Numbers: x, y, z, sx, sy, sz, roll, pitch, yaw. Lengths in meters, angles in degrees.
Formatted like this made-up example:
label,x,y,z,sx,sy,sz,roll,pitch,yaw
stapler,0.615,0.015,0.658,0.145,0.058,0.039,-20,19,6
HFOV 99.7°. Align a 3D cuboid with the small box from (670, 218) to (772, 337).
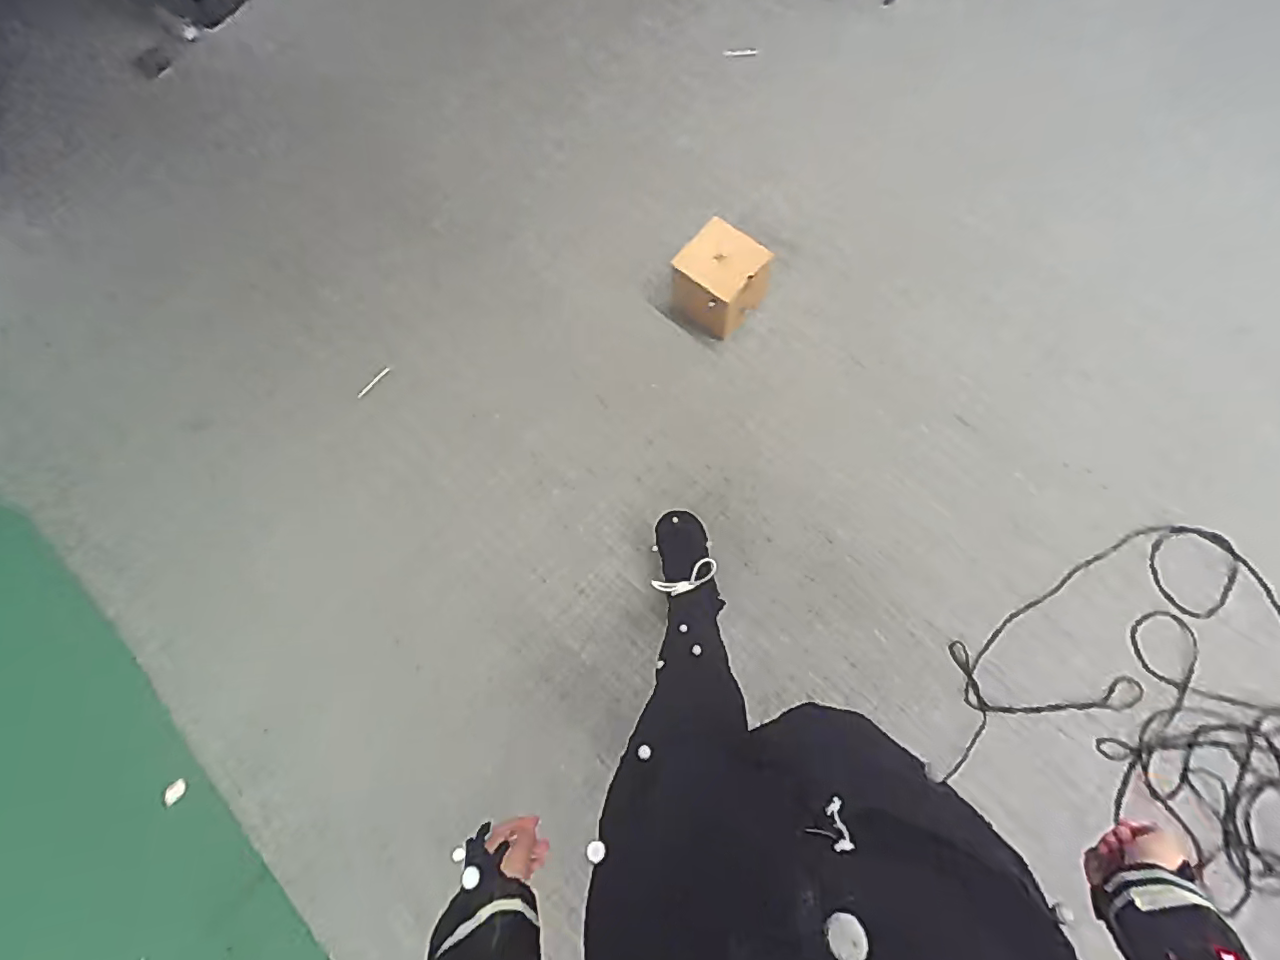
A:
label,x,y,z,sx,sy,sz,roll,pitch,yaw
small box,0.190,-0.483,1.312,0.179,0.176,0.168,40,82,13
